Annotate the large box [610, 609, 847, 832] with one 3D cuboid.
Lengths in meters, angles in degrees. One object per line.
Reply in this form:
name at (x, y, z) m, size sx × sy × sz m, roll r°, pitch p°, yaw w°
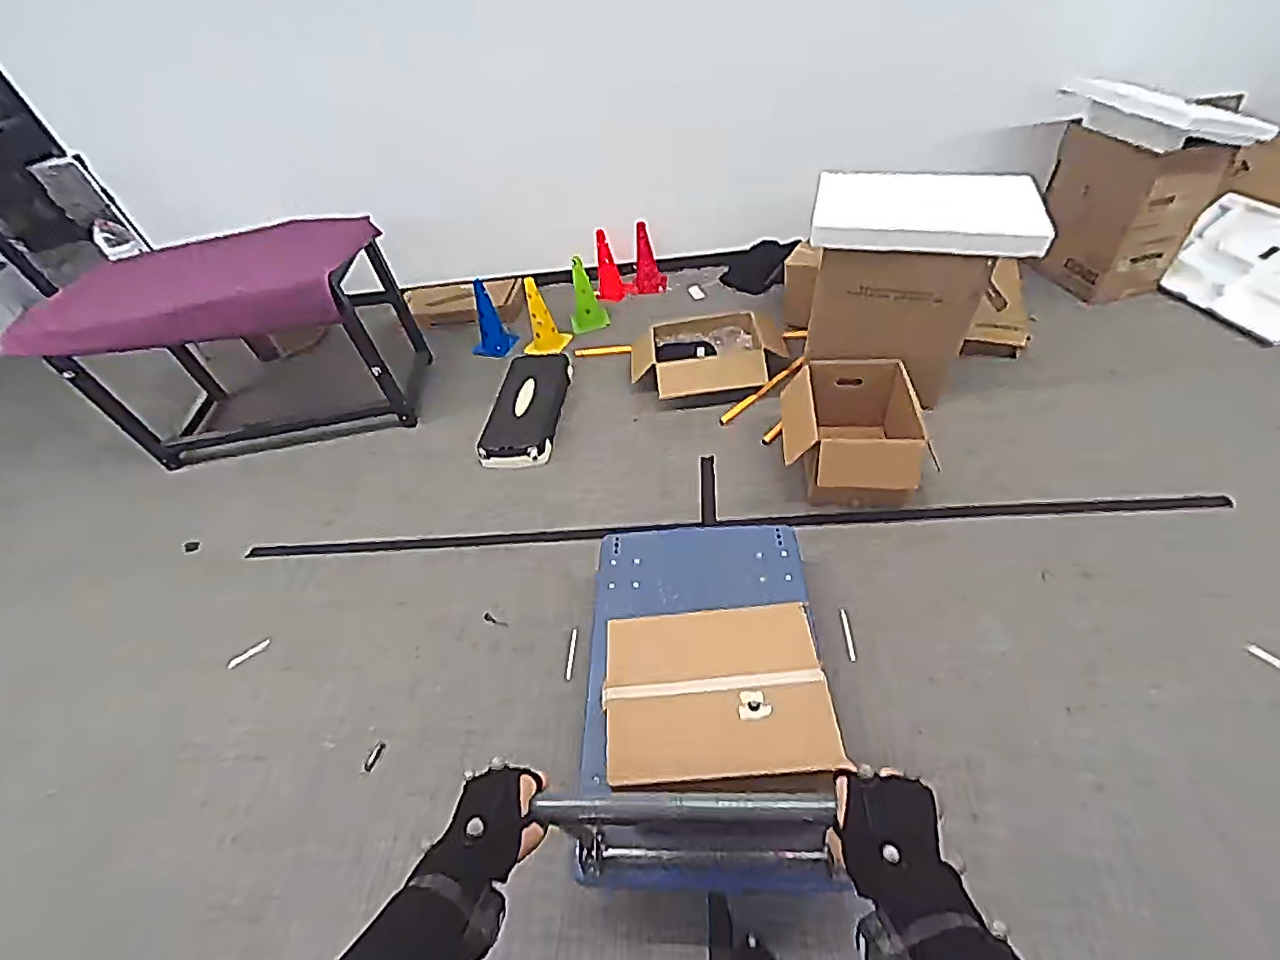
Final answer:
large box at (0.156, 0.499, 1.115) m, size 0.408 × 0.320 × 0.320 m, roll -6°, pitch 46°, yaw 3°
